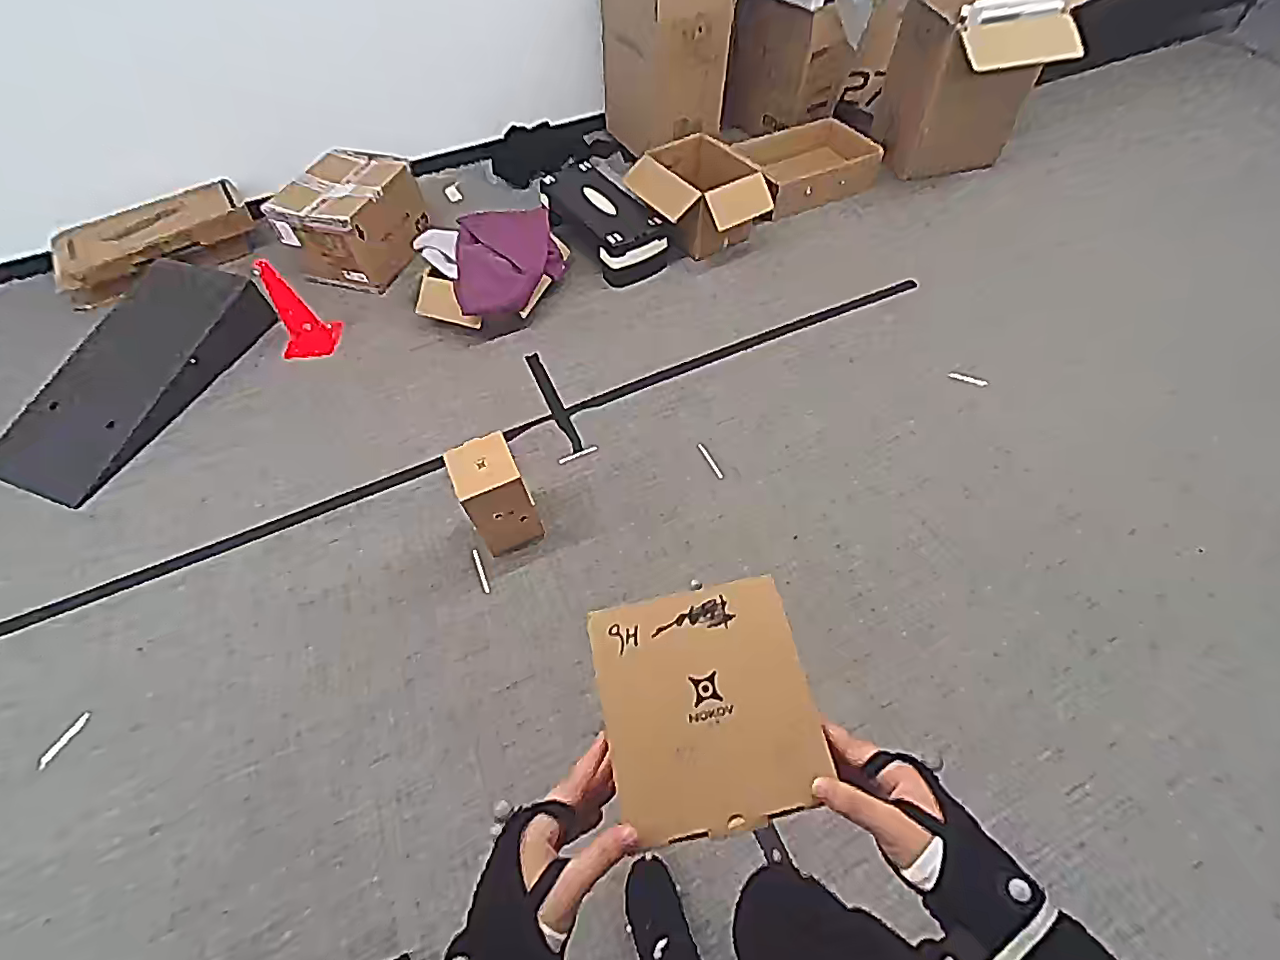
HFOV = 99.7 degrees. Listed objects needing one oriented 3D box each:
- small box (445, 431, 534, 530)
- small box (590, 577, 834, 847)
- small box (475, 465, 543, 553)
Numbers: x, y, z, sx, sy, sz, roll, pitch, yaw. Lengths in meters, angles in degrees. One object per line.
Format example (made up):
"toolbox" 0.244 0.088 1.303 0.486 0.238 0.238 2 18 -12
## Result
"small box" -0.407 0.004 1.476 0.168 0.176 0.179 -24 60 -12
"small box" 0.052 0.206 0.505 0.168 0.176 0.179 -10 67 -6
"small box" -0.402 0.089 1.614 0.179 0.176 0.168 -24 59 -13
